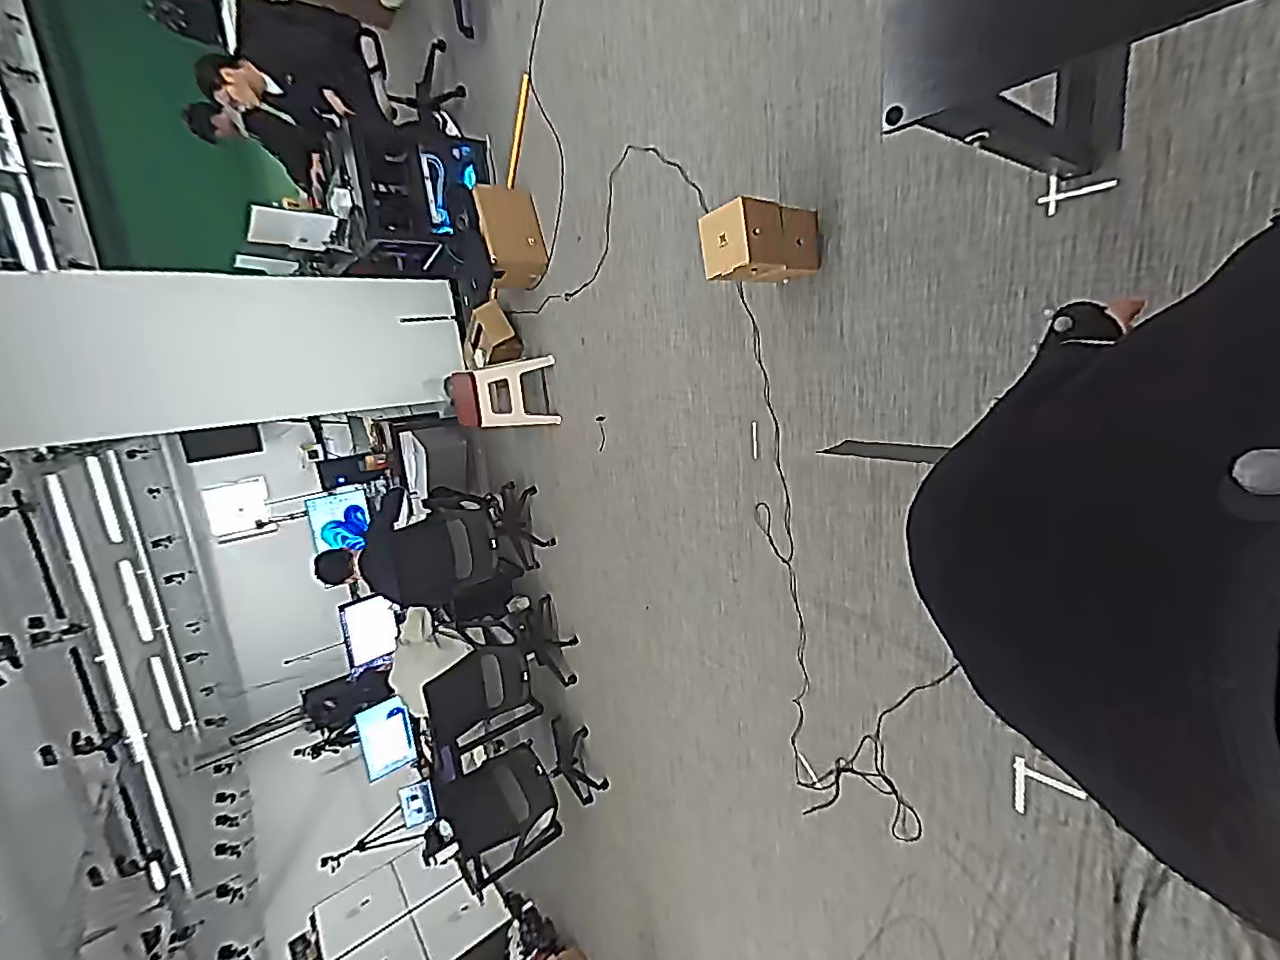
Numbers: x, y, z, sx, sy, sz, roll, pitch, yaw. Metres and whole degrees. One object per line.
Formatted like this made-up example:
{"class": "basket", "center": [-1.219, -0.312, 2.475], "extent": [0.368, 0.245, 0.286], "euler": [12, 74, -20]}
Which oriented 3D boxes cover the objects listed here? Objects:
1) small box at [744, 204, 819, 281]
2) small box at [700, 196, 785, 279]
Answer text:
{"class": "small box", "center": [0.426, -0.715, 1.646], "extent": [0.168, 0.176, 0.179], "euler": [6, 107, 52]}
{"class": "small box", "center": [0.297, -0.687, 1.550], "extent": [0.168, 0.176, 0.179], "euler": [1, 101, 52]}
